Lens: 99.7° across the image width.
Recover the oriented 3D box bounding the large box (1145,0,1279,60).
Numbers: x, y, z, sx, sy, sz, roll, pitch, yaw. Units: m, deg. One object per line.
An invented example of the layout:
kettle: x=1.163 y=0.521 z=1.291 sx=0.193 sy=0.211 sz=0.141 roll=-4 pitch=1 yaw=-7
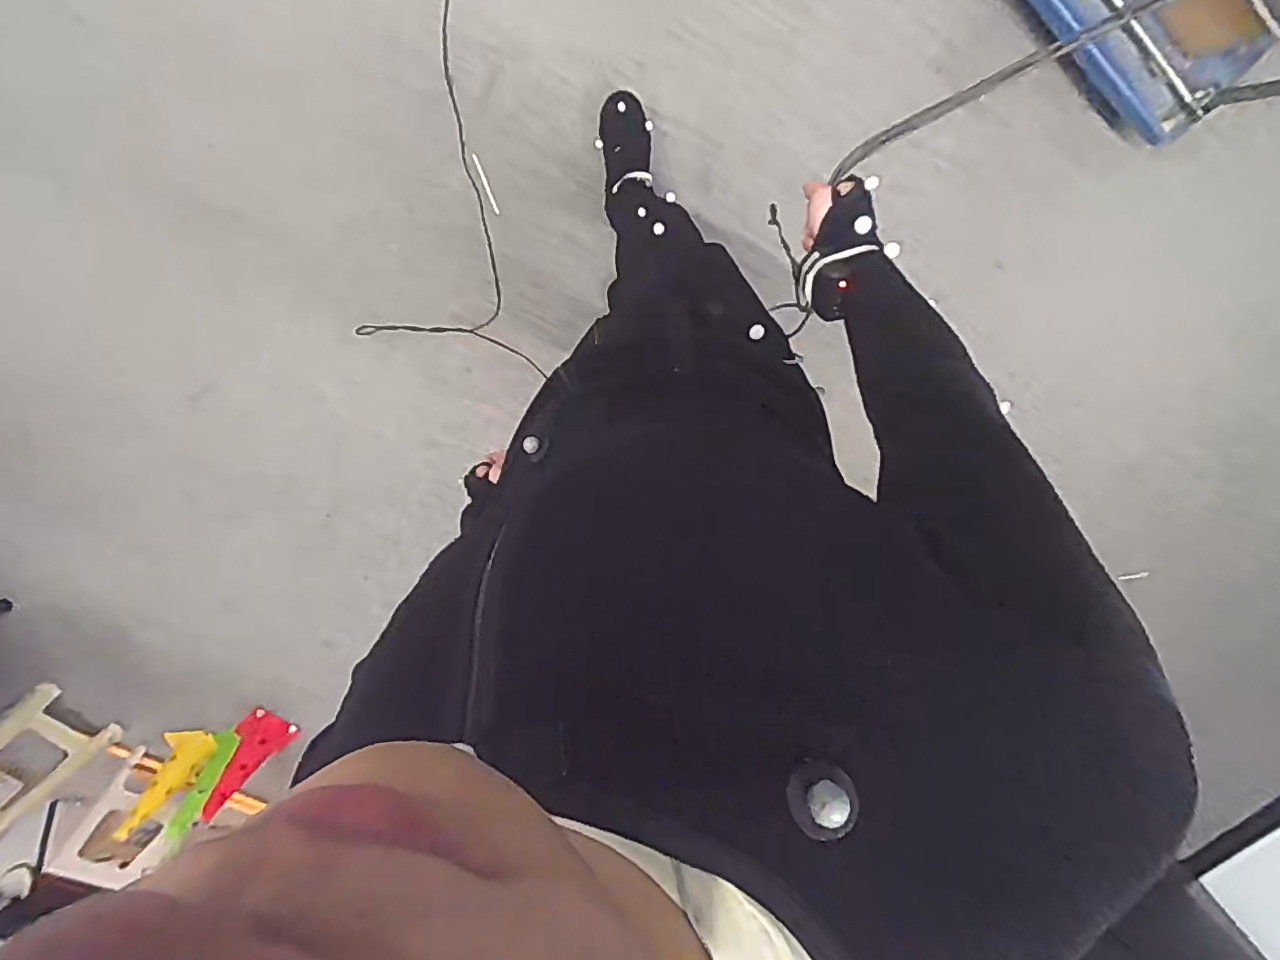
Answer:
large box: x=1.120 y=-1.014 z=0.864 sx=0.320 sy=0.320 sz=0.408 roll=34 pitch=110 yaw=-14
